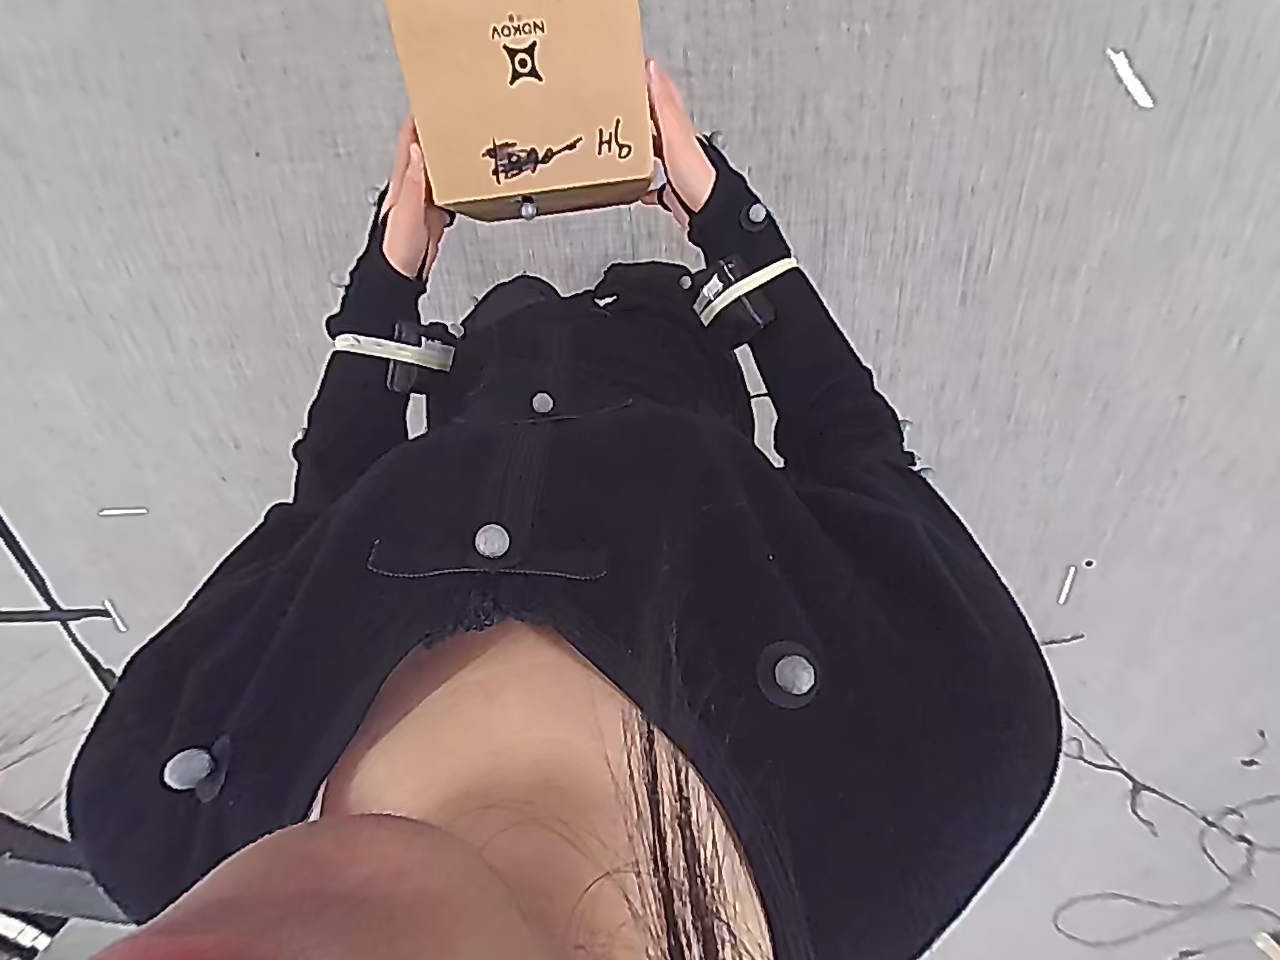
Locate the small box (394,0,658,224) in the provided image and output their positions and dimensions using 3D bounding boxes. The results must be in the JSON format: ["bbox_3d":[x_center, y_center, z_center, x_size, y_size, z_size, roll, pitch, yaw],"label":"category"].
[{"bbox_3d":[-0.083,-0.318,0.439,0.168,0.176,0.179,-8,112,-2],"label":"small box"}]

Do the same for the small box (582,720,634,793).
[{"bbox_3d":[-0.111,1.002,1.961,0.168,0.176,0.179,-4,114,3],"label":"small box"}]
